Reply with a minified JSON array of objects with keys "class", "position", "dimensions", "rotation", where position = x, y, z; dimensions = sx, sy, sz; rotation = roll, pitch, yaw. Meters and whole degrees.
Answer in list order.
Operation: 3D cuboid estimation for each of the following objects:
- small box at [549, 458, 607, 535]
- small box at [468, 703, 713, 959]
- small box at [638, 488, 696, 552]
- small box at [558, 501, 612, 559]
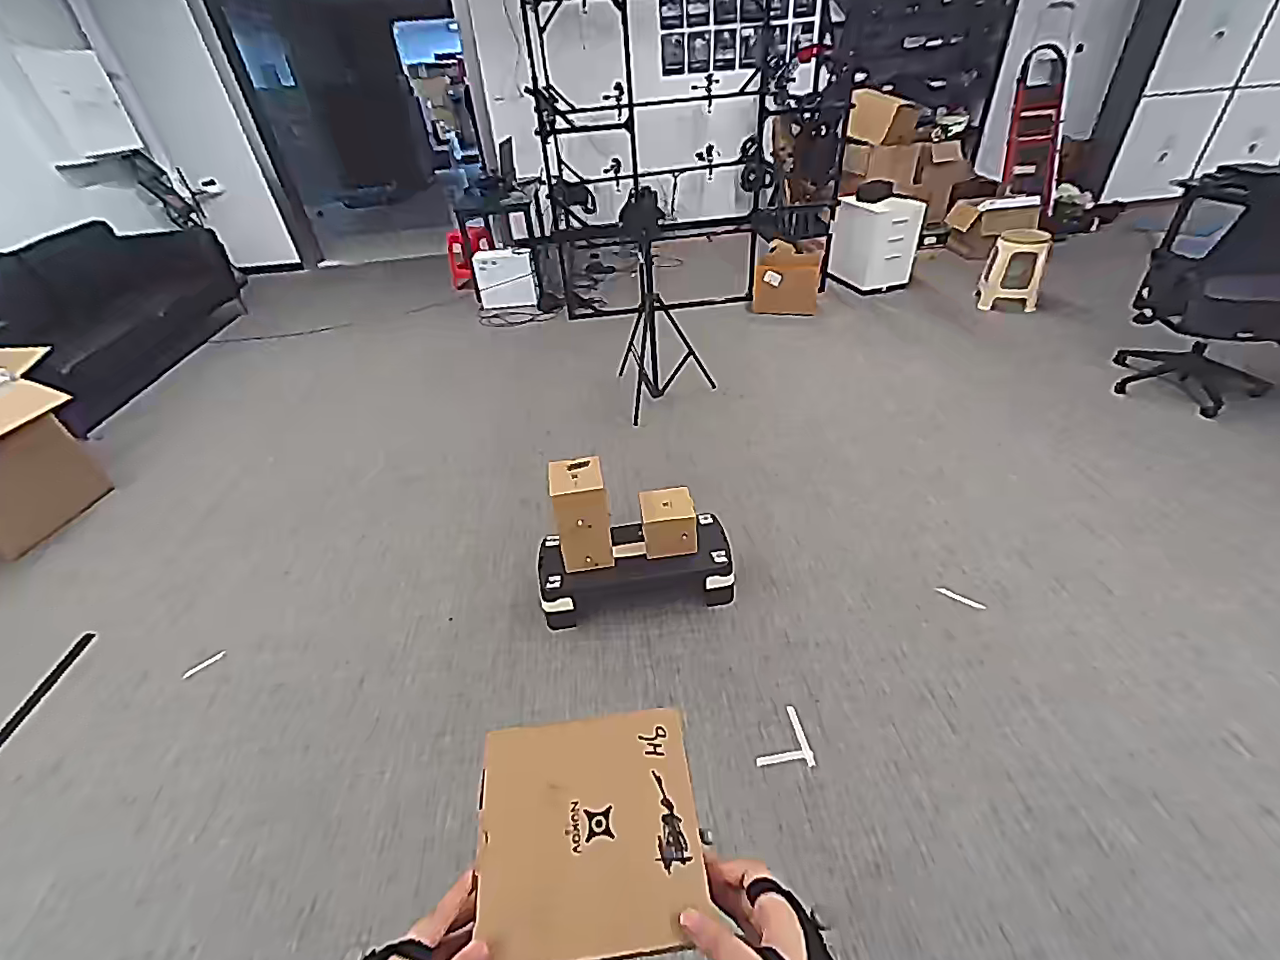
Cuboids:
[{"class":"small box","position":[-0.200,0.054,1.743],"dimensions":[0.168,0.176,0.179],"rotation":[-9,38,-5]},{"class":"small box","position":[-0.040,0.324,0.488],"dimensions":[0.179,0.176,0.168],"rotation":[-6,47,-4]},{"class":"small box","position":[0.091,0.150,1.856],"dimensions":[0.179,0.176,0.168],"rotation":[-8,36,-3]},{"class":"small box","position":[-0.186,0.187,1.838],"dimensions":[0.168,0.176,0.179],"rotation":[-8,37,-4]}]
